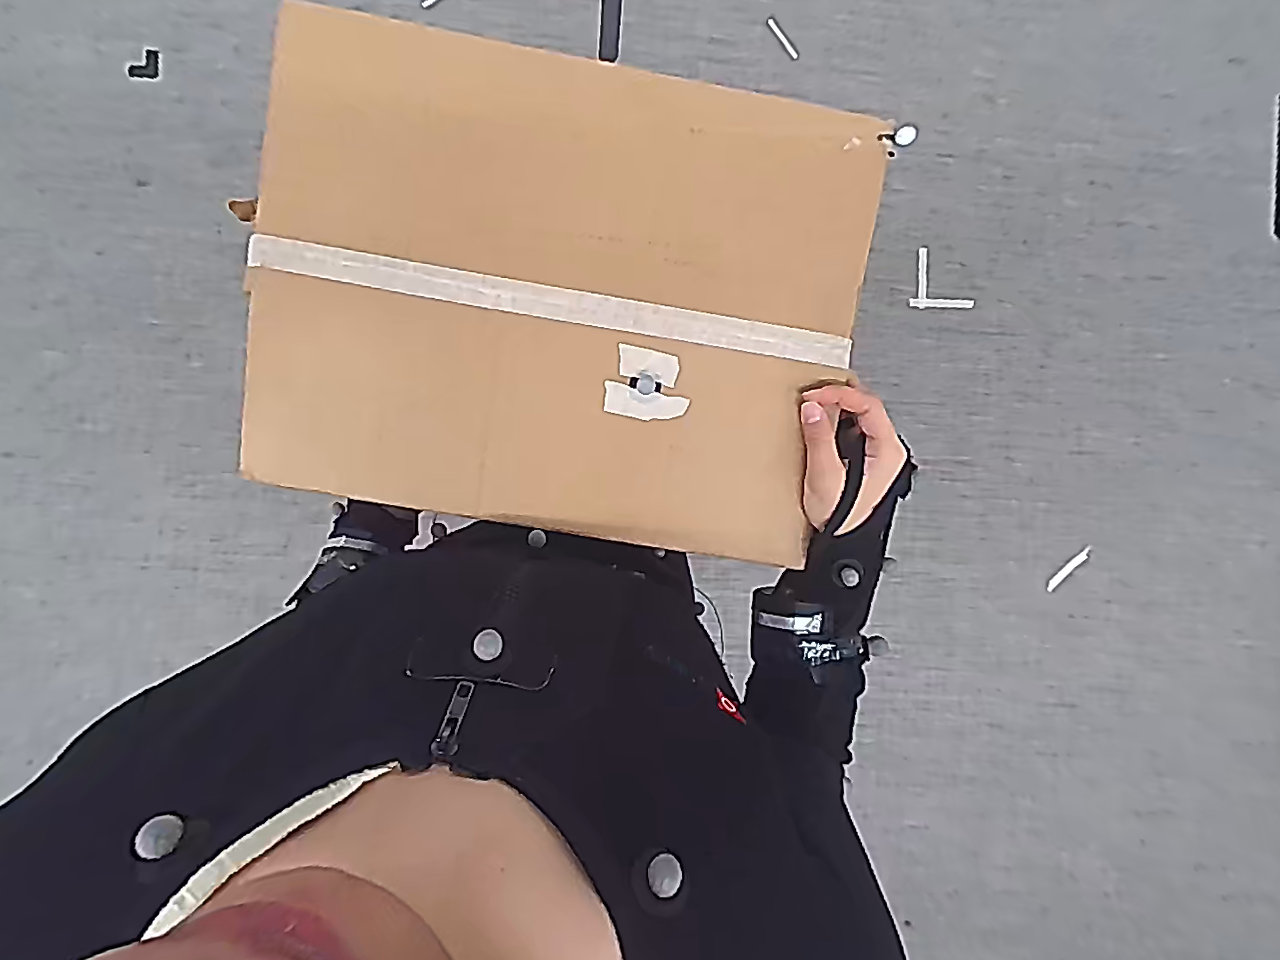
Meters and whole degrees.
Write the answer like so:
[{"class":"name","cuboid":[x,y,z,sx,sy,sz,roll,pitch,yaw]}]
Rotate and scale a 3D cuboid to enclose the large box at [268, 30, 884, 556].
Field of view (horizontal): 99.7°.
[{"class":"large box","cuboid":[-0.055,-0.135,0.526,0.408,0.320,0.320,9,97,-4]}]
